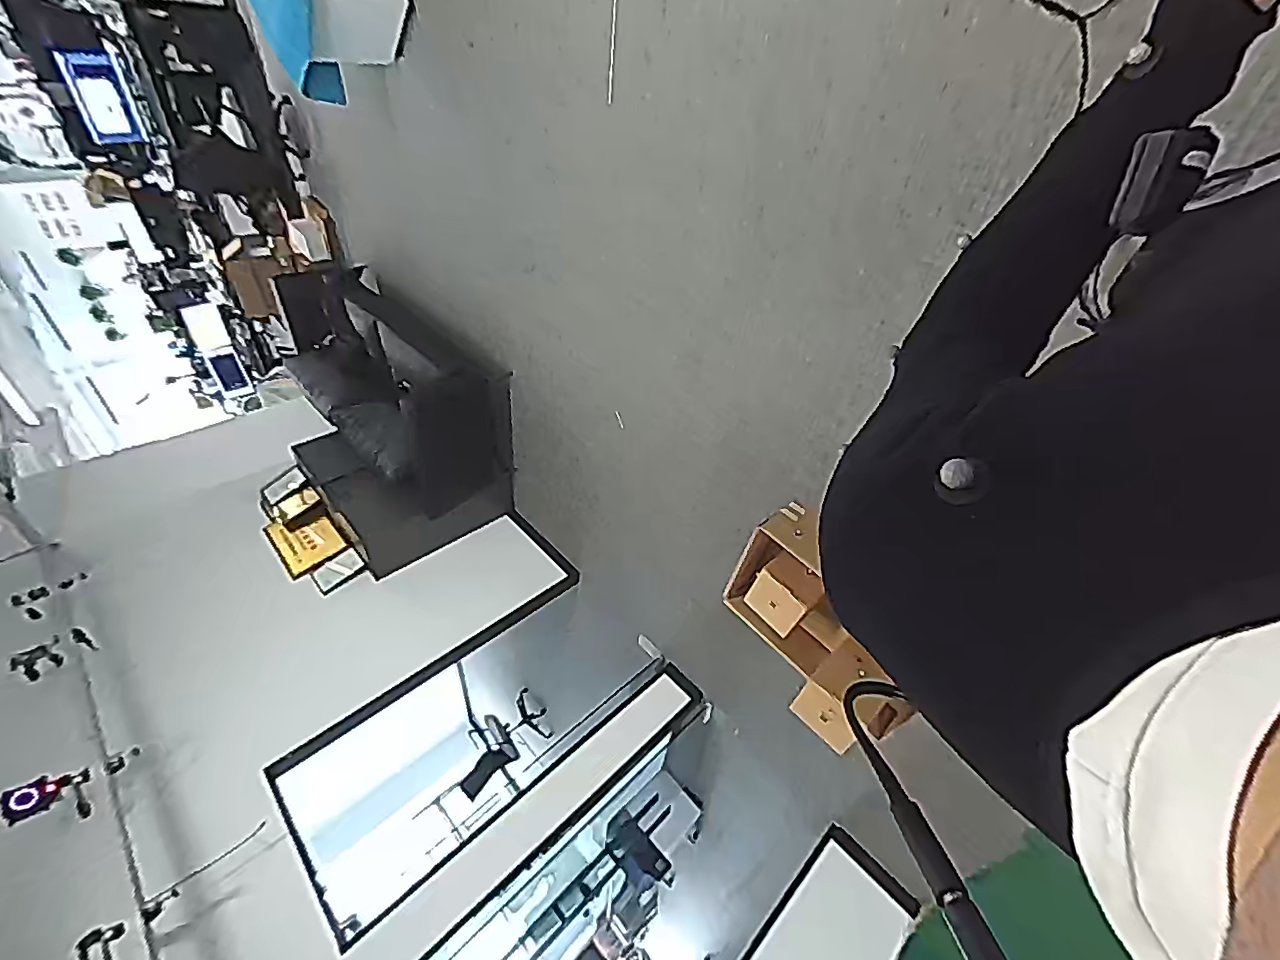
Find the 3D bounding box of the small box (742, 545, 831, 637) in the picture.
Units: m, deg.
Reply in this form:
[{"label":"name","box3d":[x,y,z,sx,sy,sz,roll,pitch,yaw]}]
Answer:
[{"label":"small box","box3d":[0.443,0.332,1.633,0.168,0.176,0.179,43,140,25]}]

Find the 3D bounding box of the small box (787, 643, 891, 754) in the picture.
[{"label":"small box","box3d":[0.519,0.565,1.408,0.168,0.176,0.179,39,139,27]}]
